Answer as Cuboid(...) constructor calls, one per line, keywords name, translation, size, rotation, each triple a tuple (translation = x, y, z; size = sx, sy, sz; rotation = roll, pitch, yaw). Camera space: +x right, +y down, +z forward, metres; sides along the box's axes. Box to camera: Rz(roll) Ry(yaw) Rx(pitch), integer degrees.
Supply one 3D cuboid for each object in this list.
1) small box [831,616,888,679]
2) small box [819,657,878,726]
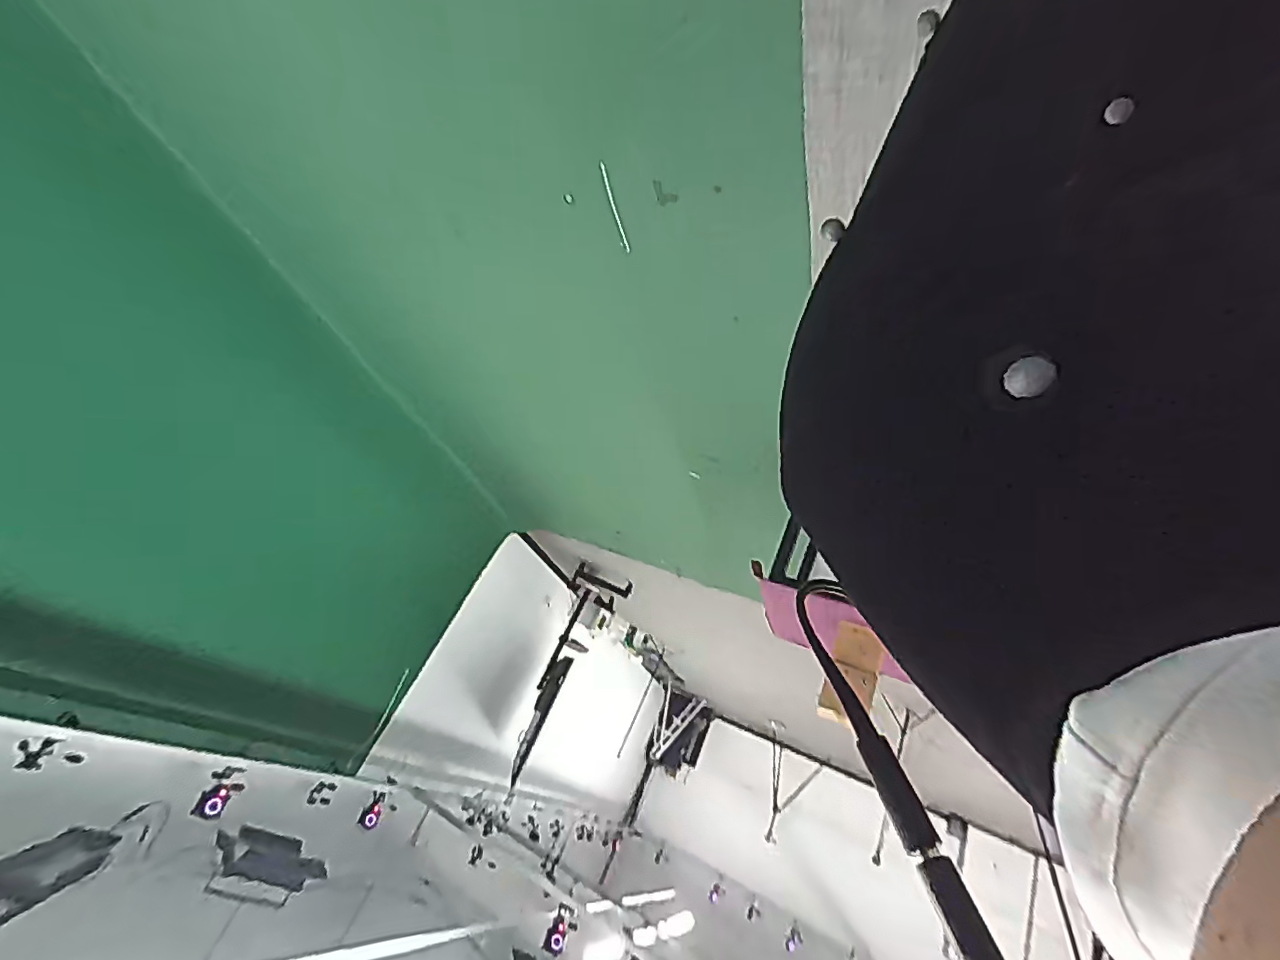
Cuboid(name="small box", translation=(0.816, 0.625, 2.008), size=(0.168, 0.176, 0.179), rotation=(12, 153, 29))
Cuboid(name="small box", translation=(0.746, 0.754, 1.934), size=(0.168, 0.176, 0.179), rotation=(14, 154, 26))
